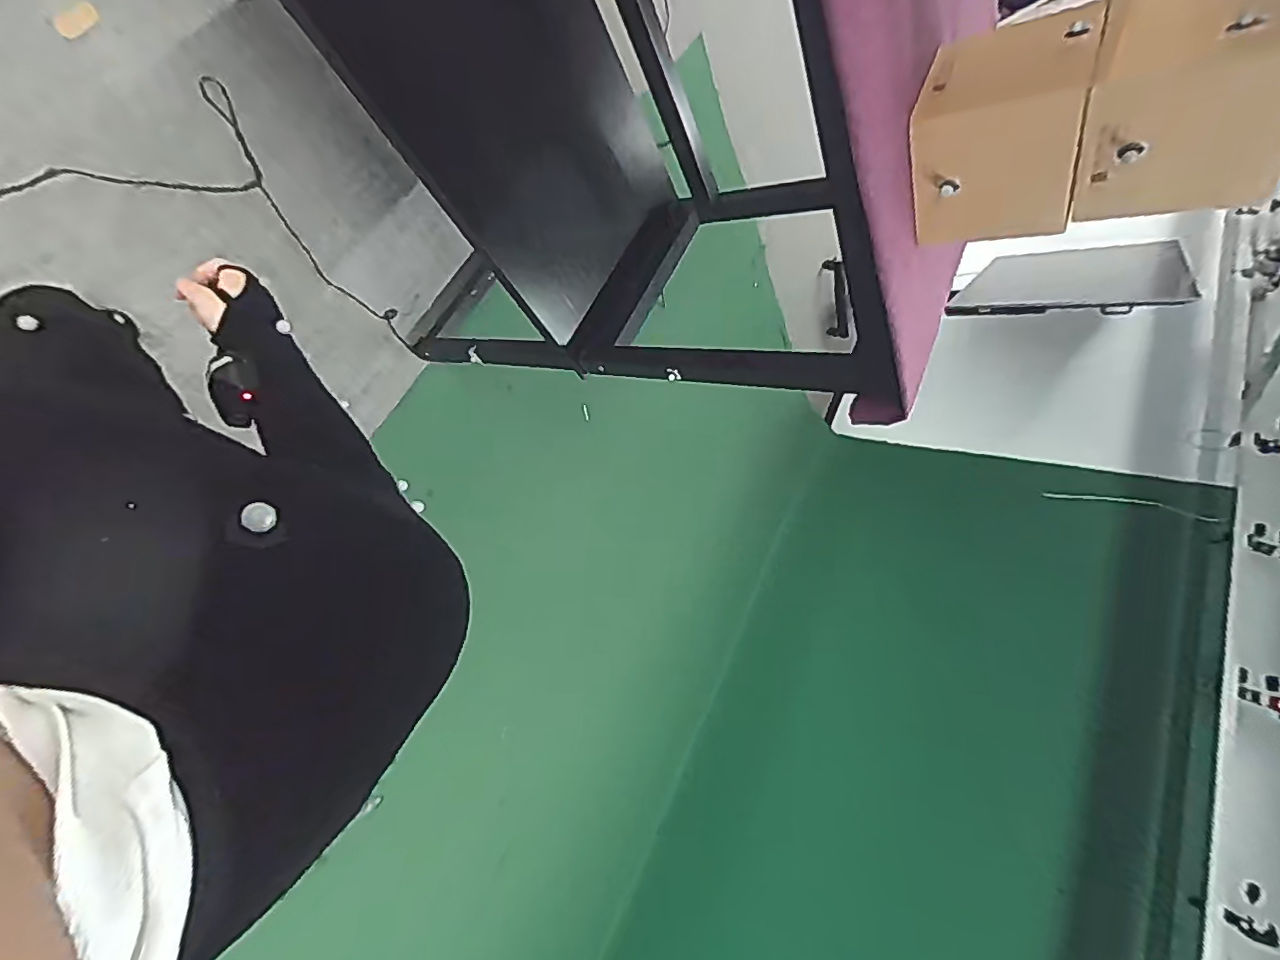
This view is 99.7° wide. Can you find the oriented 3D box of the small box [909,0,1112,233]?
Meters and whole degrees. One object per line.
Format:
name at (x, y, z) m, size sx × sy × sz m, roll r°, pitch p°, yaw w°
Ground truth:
small box at (0.441, -0.426, 0.660) m, size 0.179 × 0.176 × 0.168 m, roll 50°, pitch 59°, yaw -48°
